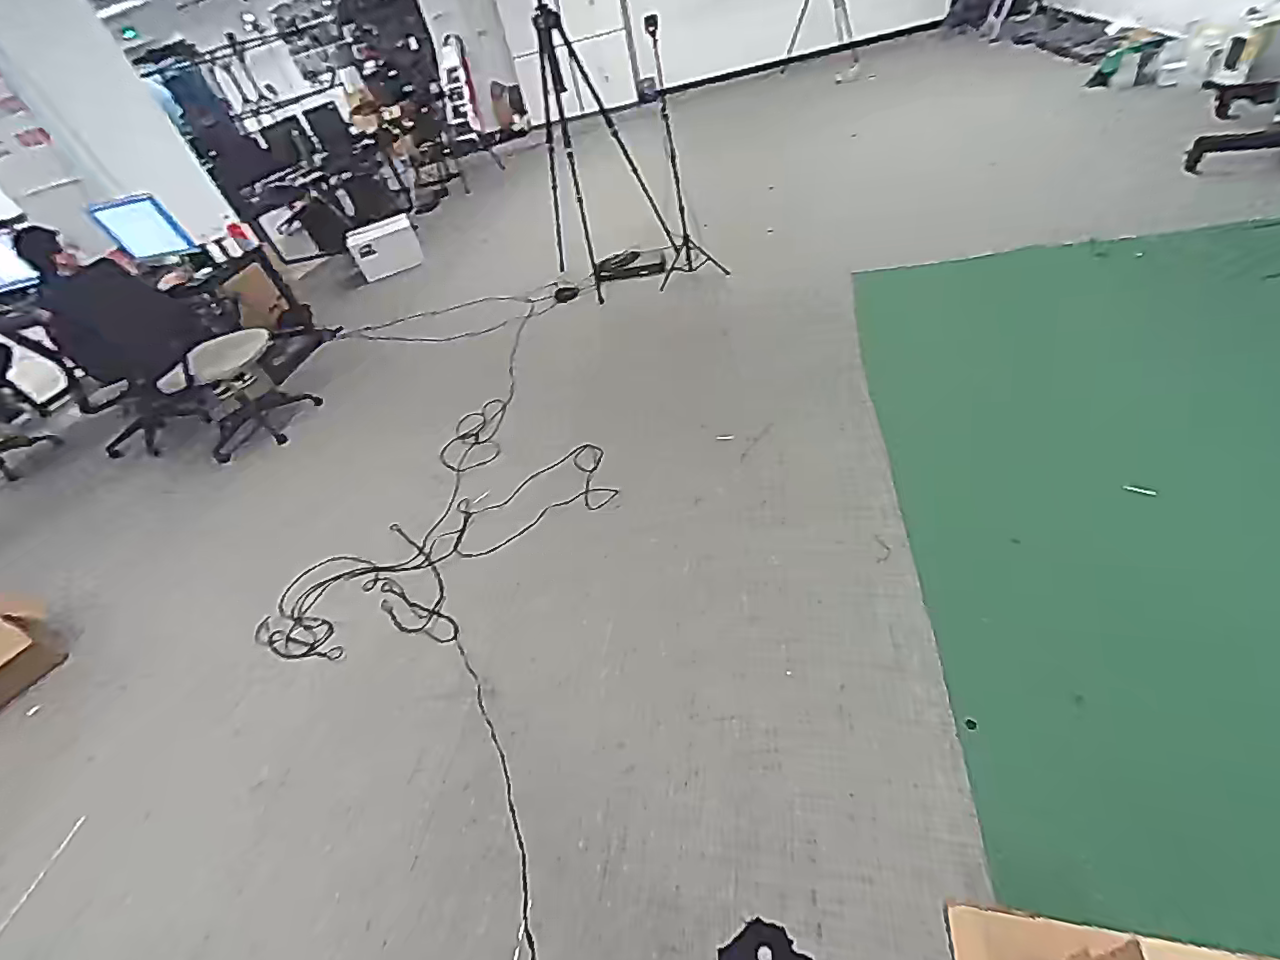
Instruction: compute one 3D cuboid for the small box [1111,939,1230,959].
[{"bbox_3d":[0.794,0.779,0.743,0.168,0.176,0.179,0,42,19],"label":"small box"}]
